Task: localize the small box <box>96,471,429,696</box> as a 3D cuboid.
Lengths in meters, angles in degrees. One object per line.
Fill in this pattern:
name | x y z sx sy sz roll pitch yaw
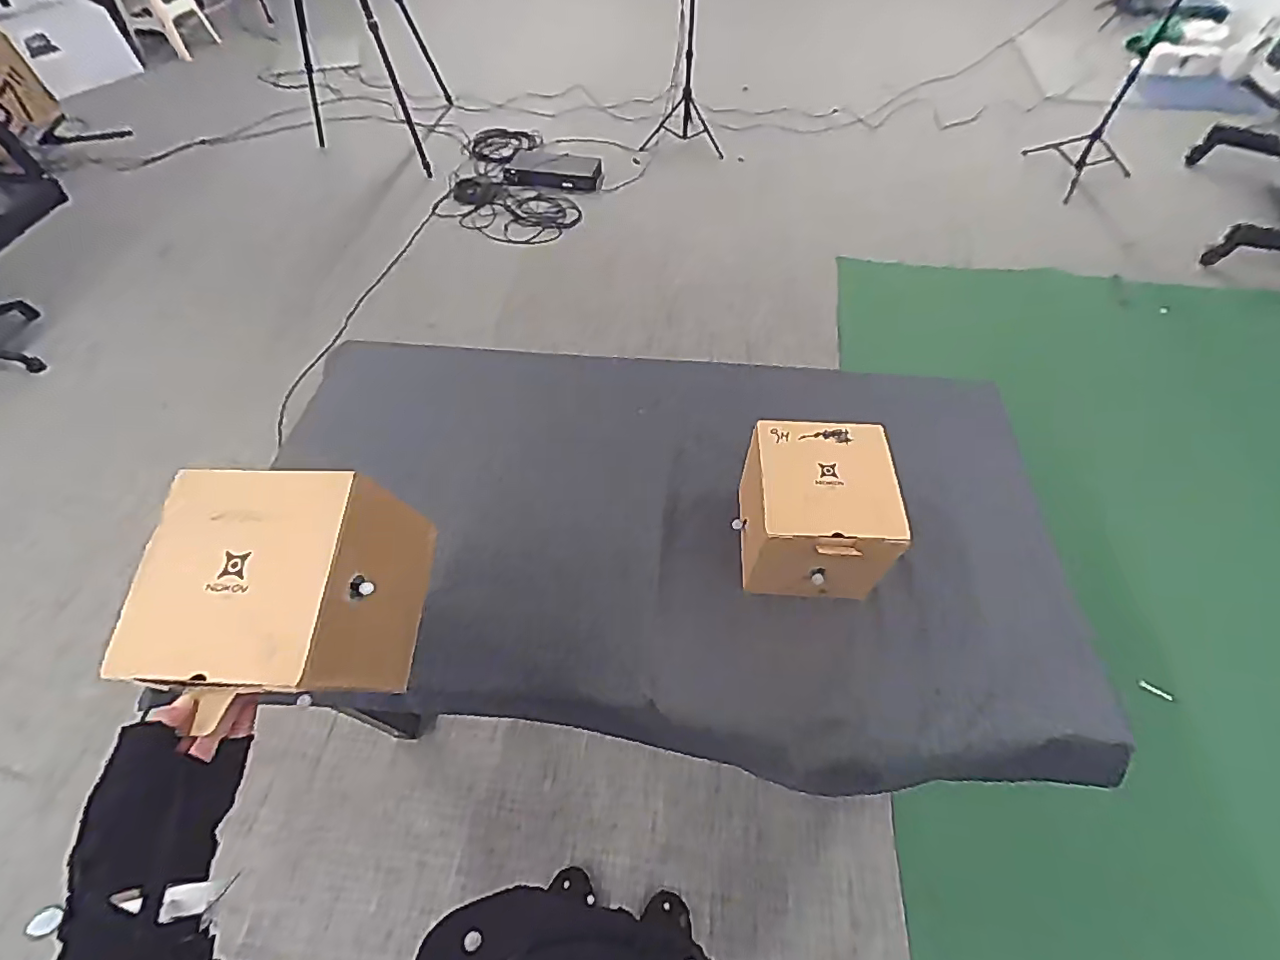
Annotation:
small box | -0.319 0.104 0.503 0.168 0.176 0.179 1 68 4
